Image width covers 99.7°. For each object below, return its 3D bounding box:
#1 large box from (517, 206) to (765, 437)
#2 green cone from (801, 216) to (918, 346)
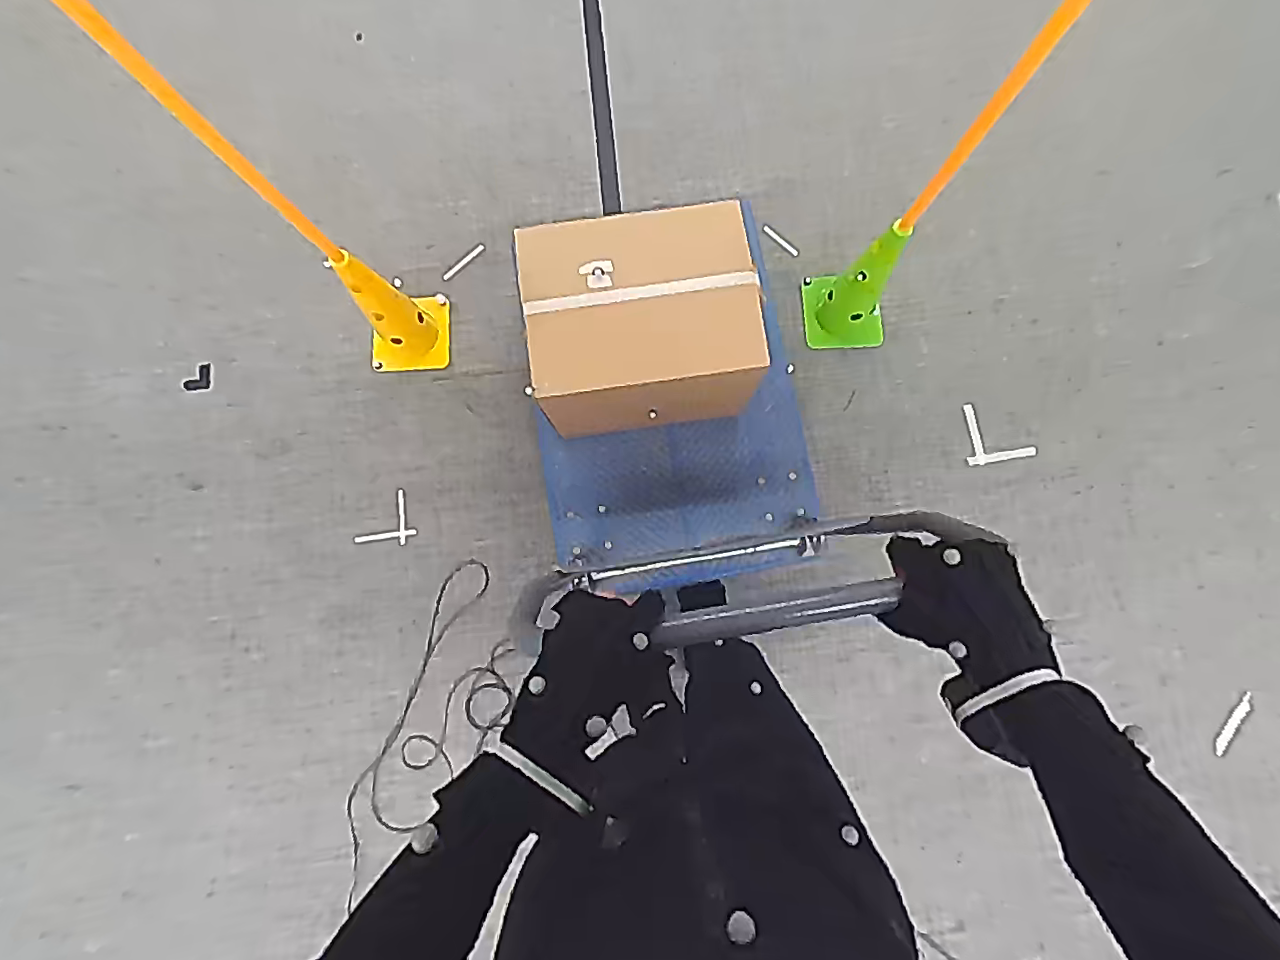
[{"bbox_3d":[0.002,-0.290,1.086,0.408,0.320,0.320,-8,81,0],"label":"large box"},{"bbox_3d":[0.530,-0.477,1.255,0.202,0.368,0.200,-2,81,-1],"label":"green cone"}]
